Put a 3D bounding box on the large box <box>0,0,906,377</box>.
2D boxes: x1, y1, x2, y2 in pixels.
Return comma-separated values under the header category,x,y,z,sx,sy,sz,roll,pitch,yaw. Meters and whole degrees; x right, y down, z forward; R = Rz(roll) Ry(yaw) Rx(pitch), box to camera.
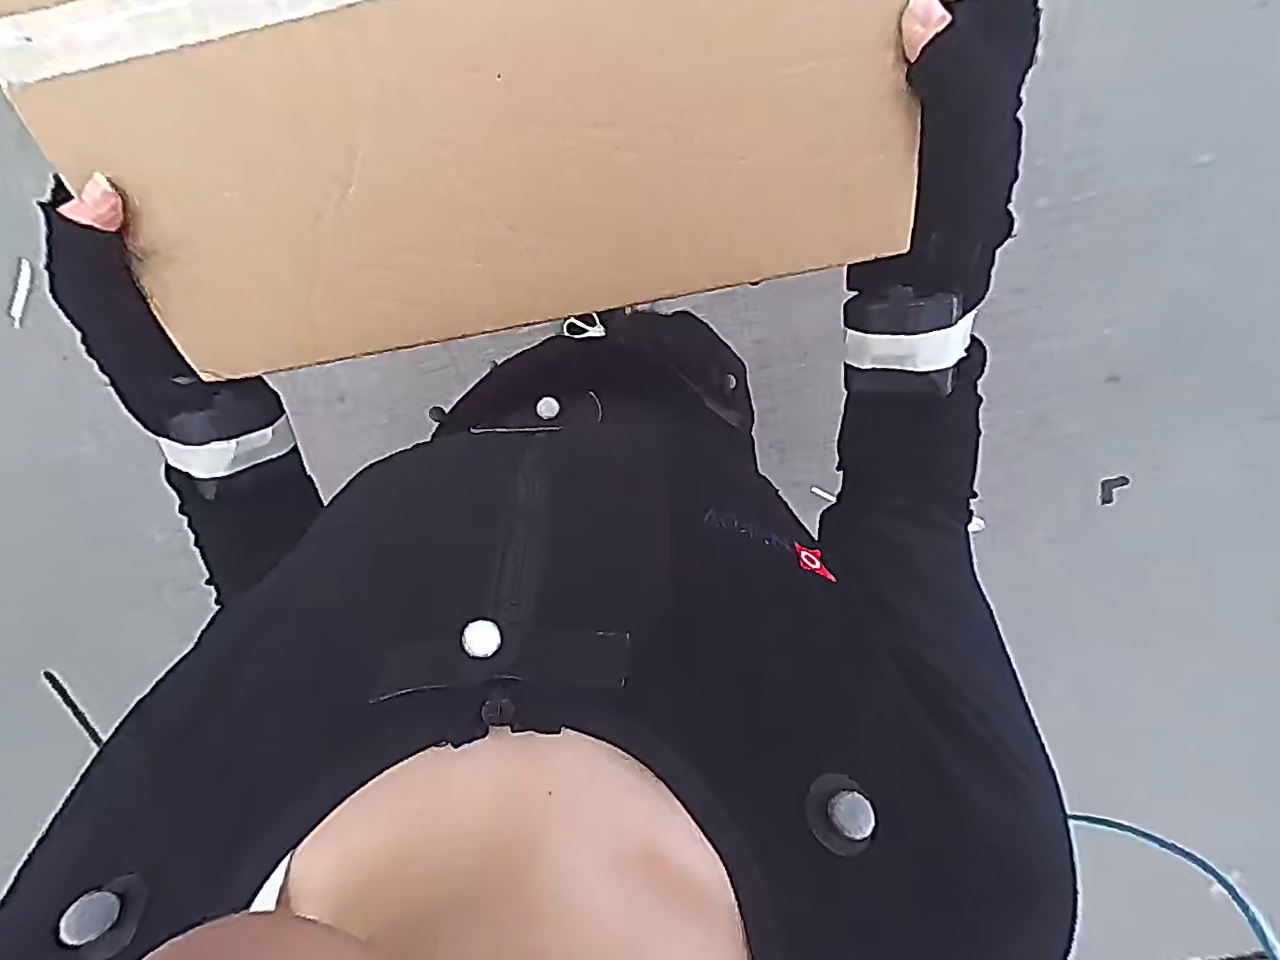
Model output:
category,x,y,z,sx,sy,sz,roll,pitch,yaw
large box,-0.086,-0.302,0.350,0.408,0.320,0.320,-9,123,6
